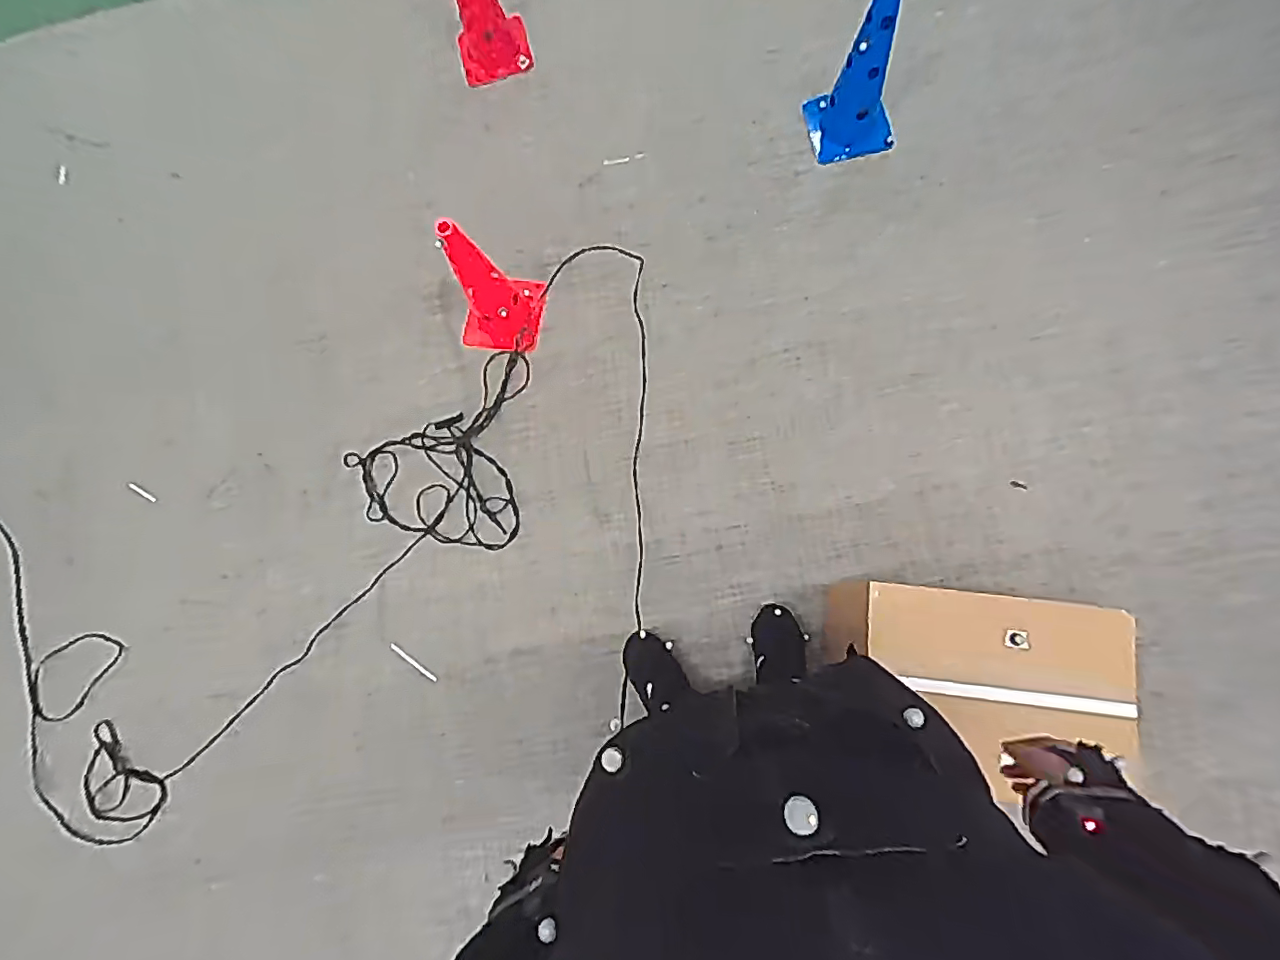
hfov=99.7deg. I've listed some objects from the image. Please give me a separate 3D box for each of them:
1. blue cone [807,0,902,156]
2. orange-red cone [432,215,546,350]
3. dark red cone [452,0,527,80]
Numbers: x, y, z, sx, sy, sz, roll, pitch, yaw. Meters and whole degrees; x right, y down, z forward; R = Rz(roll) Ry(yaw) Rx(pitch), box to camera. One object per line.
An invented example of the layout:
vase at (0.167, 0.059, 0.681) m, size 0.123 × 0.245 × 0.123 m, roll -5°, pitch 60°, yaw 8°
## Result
blue cone at (0.523, -0.970, 1.252) m, size 0.192 × 0.380 × 0.193 m, roll -10°, pitch 78°, yaw 4°
orange-red cone at (-0.376, -0.472, 1.242) m, size 0.199 × 0.360 × 0.198 m, roll 9°, pitch 79°, yaw 10°
dark red cone at (-0.454, -1.289, 1.399) m, size 0.202 × 0.394 × 0.201 m, roll -18°, pitch 74°, yaw 3°
